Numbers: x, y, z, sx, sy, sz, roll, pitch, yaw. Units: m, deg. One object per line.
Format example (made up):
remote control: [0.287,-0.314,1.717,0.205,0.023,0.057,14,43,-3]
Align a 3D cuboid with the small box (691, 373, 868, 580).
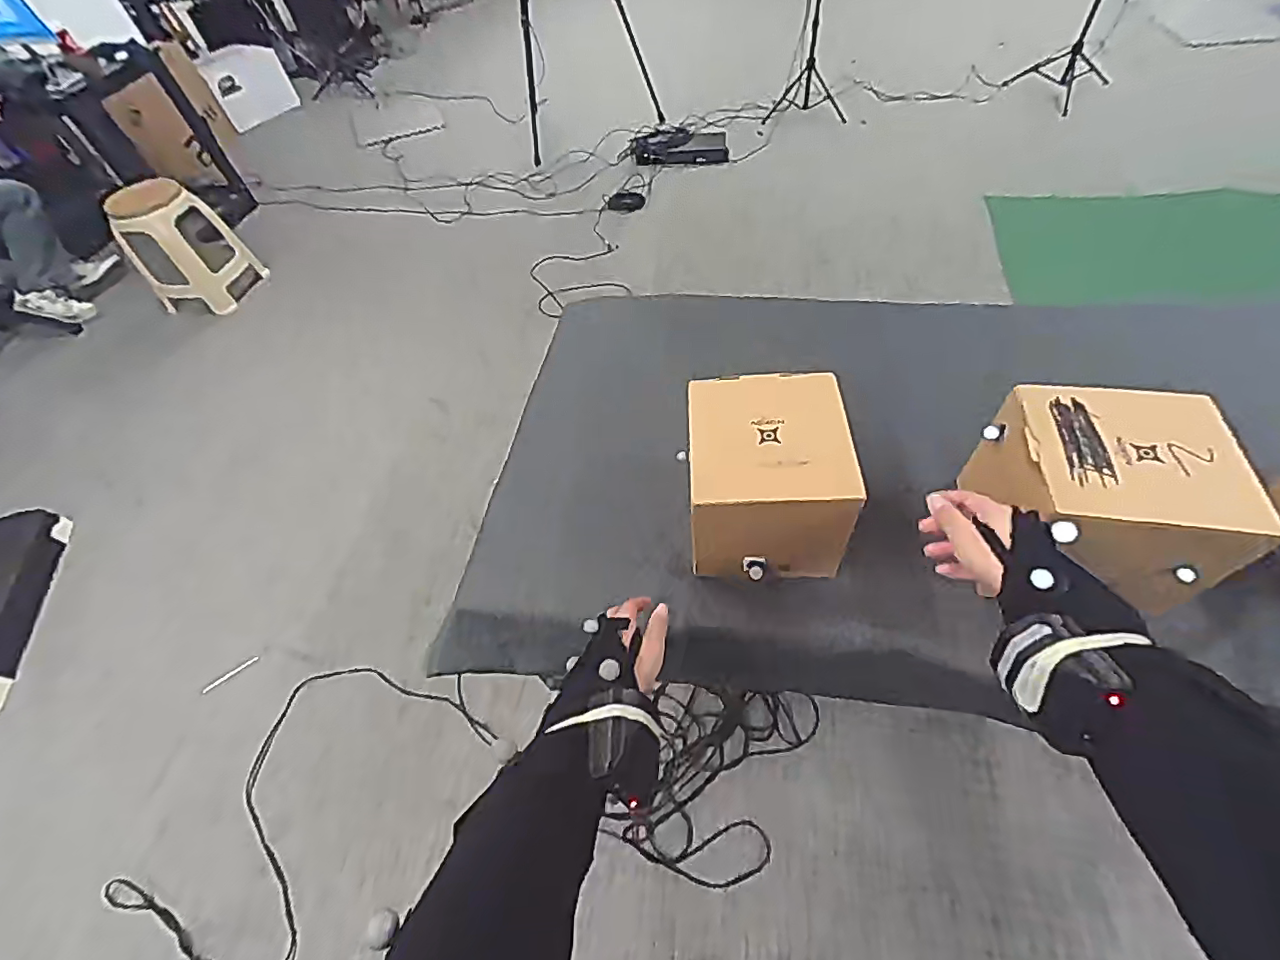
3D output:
small box: [0.144,0.000,0.626,0.168,0.176,0.179,-3,54,6]
